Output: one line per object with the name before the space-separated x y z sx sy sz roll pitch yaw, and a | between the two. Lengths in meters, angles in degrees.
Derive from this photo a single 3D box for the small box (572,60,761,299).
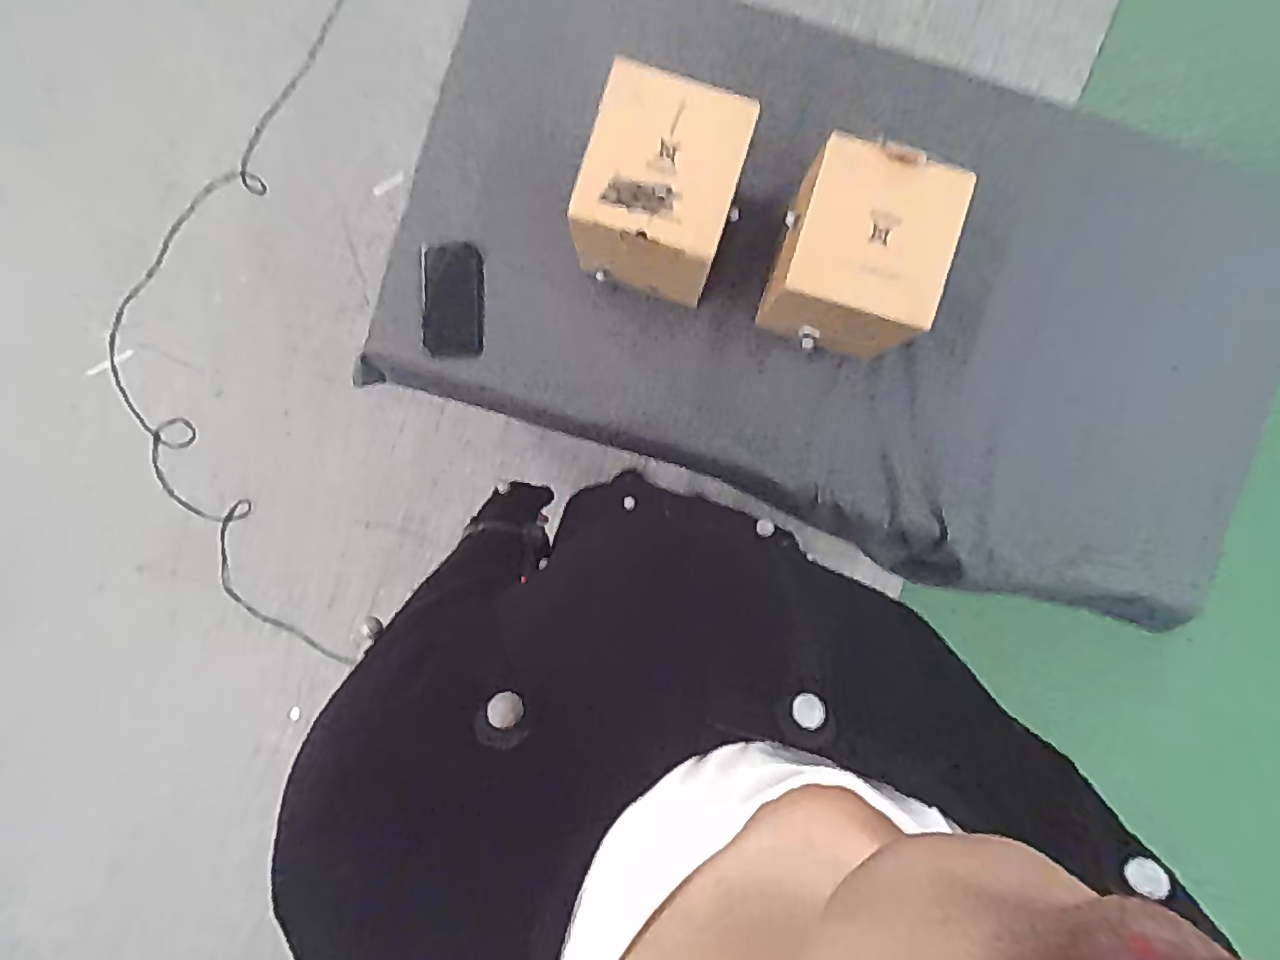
small box | 0.029 -0.346 0.661 0.168 0.176 0.179 17 90 -1

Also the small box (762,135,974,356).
small box | 0.263 -0.272 0.669 0.168 0.176 0.179 16 92 0
